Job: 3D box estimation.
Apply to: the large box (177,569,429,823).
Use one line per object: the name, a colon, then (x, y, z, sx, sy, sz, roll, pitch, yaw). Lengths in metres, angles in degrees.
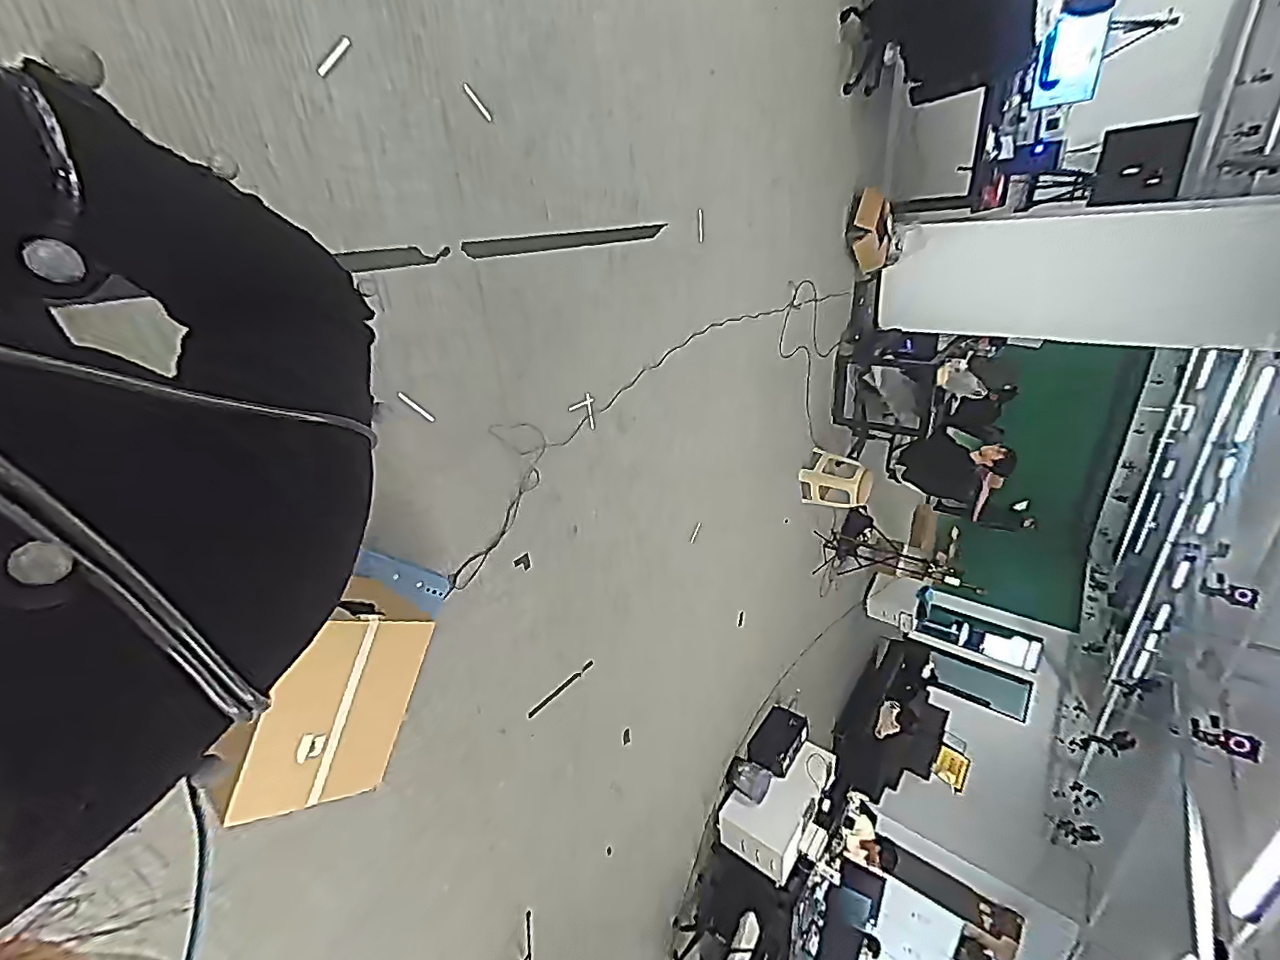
large box: (-0.744, 0.442, 1.209, 0.320, 0.320, 0.408, 22, 86, -53)
